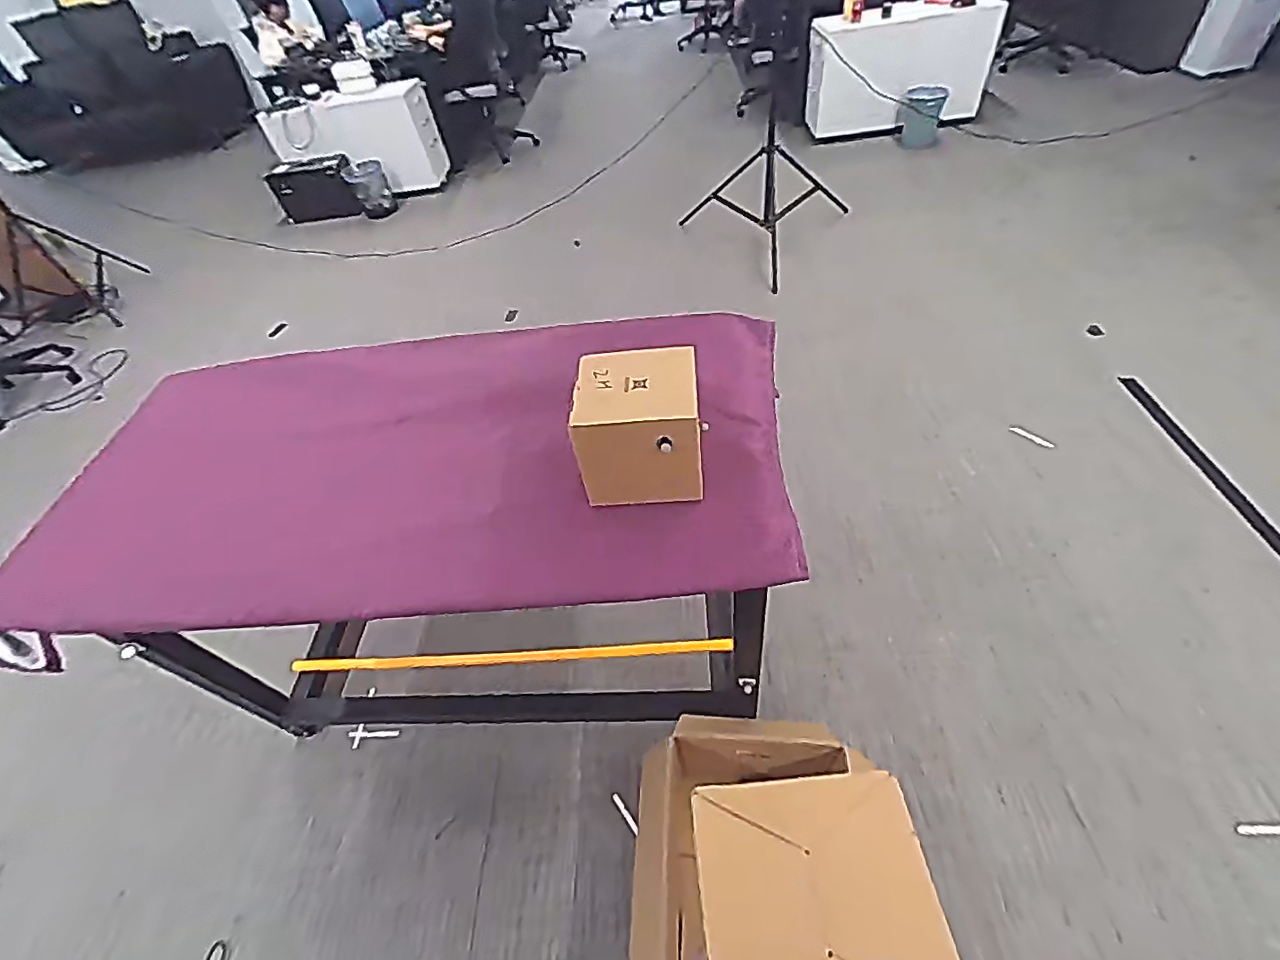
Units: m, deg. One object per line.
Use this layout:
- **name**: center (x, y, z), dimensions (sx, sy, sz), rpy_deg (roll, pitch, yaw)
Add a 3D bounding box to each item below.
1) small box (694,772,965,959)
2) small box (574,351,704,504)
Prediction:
- **small box**: center (0.142, 0.368, 0.462), dimensions (0.179, 0.176, 0.168), rpy_deg (-7, 45, 2)
- **small box**: center (0.009, -0.076, 0.829), dimensions (0.179, 0.176, 0.168), rpy_deg (-3, 46, 7)
